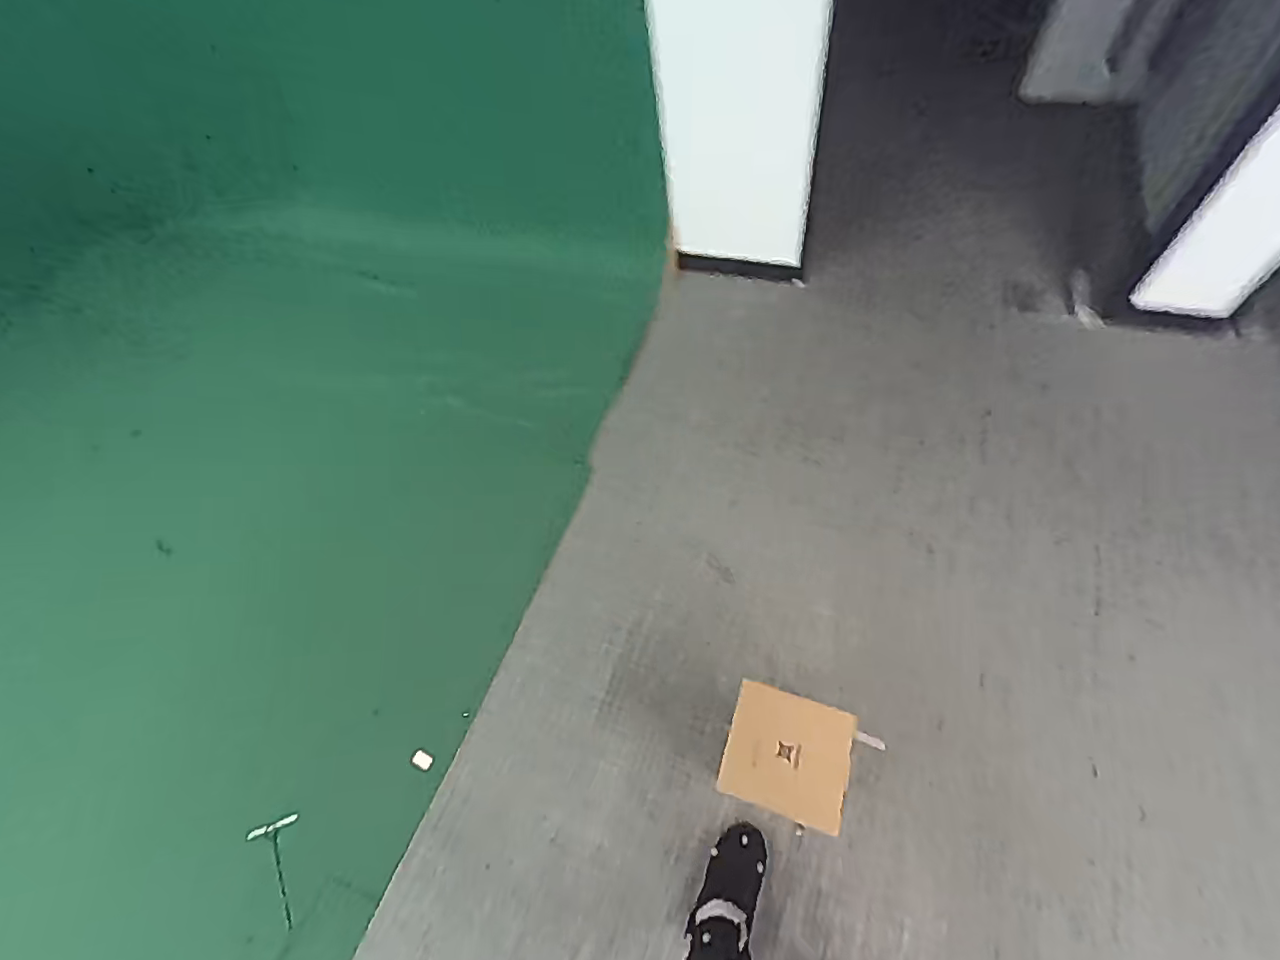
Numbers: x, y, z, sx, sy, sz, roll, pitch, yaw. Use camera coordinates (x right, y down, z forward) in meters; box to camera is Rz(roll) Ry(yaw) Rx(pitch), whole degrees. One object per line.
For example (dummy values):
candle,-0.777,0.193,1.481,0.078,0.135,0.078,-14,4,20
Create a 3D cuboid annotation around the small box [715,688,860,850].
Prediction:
small box,0.230,0.454,0.858,0.179,0.176,0.168,14,62,19
